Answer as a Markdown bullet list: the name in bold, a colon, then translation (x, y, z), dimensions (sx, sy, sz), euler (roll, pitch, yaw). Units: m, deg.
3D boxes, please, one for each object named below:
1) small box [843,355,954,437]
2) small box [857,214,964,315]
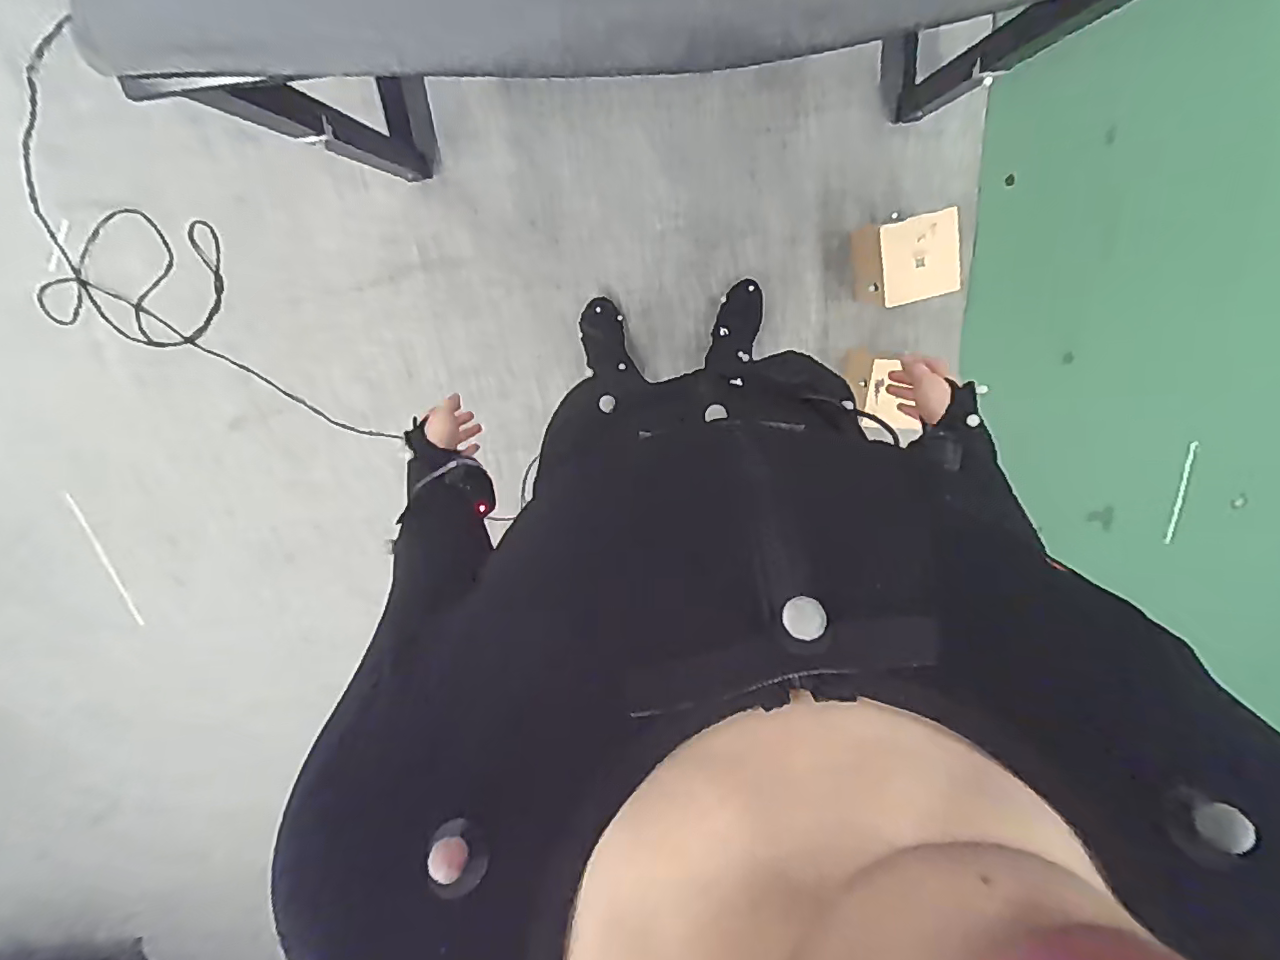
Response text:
- **small box**: translation (0.632, -0.214, 1.344), dimensions (0.179, 0.176, 0.168), euler (3, 112, 0)
- **small box**: translation (0.615, -0.490, 1.239), dimensions (0.168, 0.176, 0.179), euler (-13, 110, 5)
